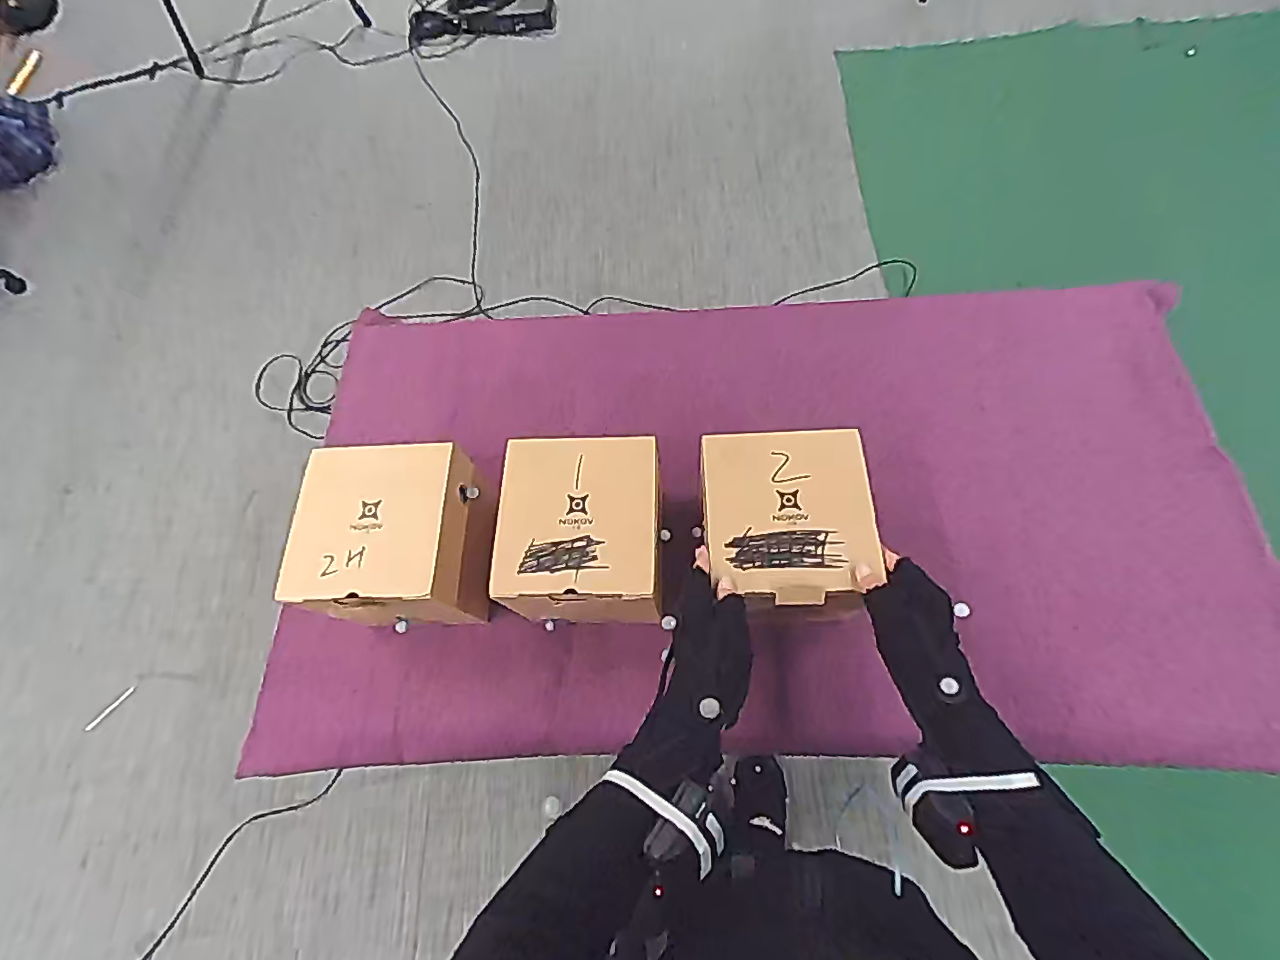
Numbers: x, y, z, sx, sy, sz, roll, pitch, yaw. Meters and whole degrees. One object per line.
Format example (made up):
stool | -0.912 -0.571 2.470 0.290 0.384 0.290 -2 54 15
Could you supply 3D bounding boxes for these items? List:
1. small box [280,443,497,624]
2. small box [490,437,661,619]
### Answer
small box | -0.281 0.072 0.652 0.168 0.176 0.179 -2 67 5
small box | -0.061 0.065 0.637 0.168 0.176 0.179 -1 66 4
